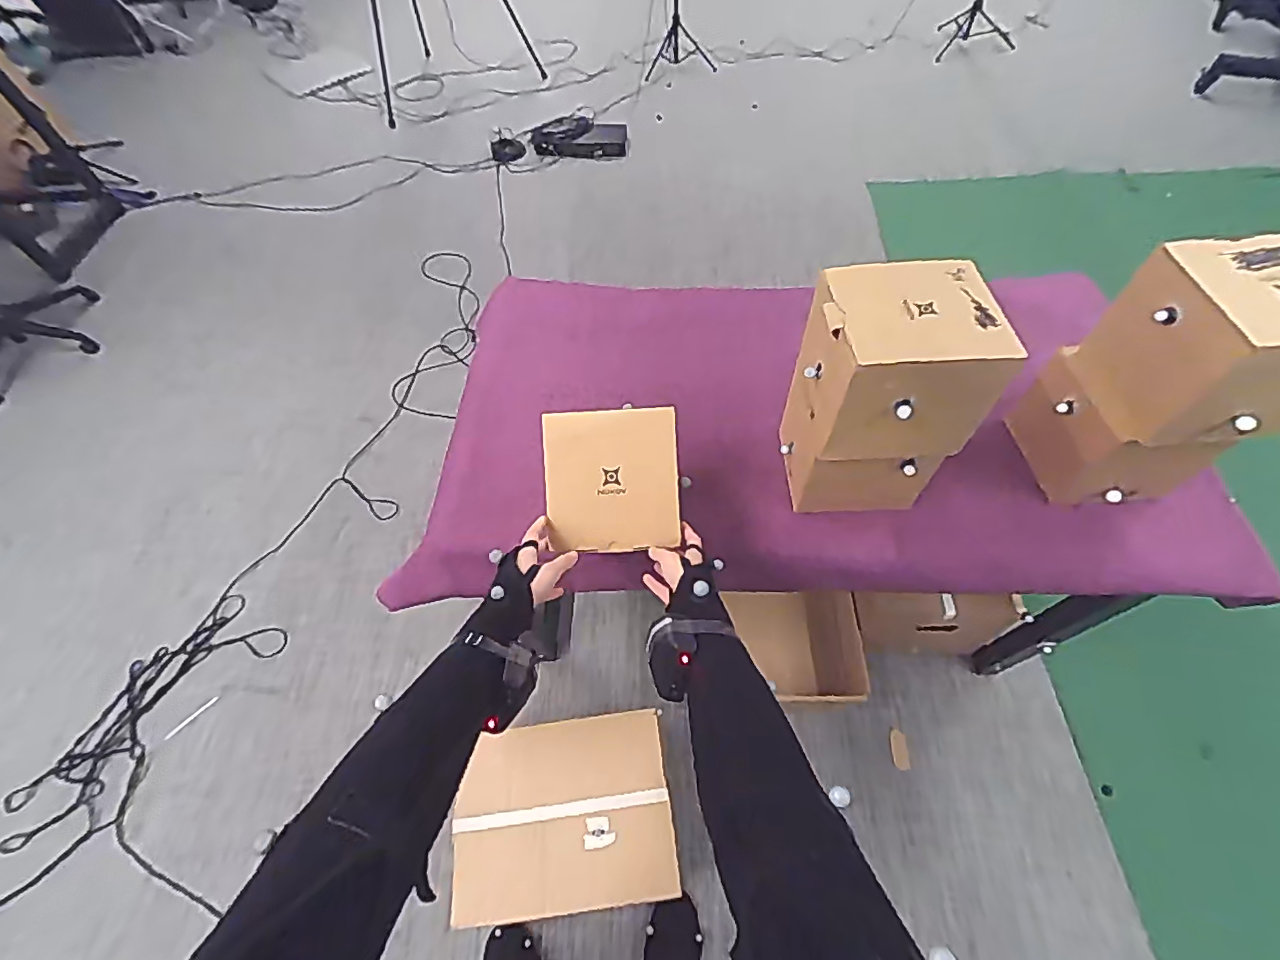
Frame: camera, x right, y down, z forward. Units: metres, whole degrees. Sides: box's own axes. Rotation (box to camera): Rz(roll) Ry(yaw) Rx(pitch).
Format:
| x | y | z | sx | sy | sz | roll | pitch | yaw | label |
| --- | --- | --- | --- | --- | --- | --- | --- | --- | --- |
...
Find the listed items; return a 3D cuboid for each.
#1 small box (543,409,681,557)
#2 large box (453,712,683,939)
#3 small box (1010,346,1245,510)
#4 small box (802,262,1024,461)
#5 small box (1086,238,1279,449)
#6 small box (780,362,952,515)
| x | y | z | sx | sy | sz | roll | pitch | yaw | label |
| --- | --- | --- | --- | --- | --- | --- | --- | --- | --- |
| -0.034 | 0.003 | 0.739 | 0.168 | 0.176 | 0.179 | -3 | 92 | 2 | small box |
| -0.134 | 0.705 | 1.121 | 0.408 | 0.320 | 0.320 | -7 | 56 | -2 | large box |
| 0.682 | -0.075 | 0.780 | 0.168 | 0.176 | 0.179 | -4 | 55 | 3 | small box |
| 0.302 | -0.135 | 0.651 | 0.179 | 0.176 | 0.168 | -3 | 55 | 3 | small box |
| 0.688 | -0.158 | 0.637 | 0.168 | 0.176 | 0.179 | -4 | 56 | 4 | small box |
| 0.316 | -0.059 | 0.796 | 0.179 | 0.176 | 0.168 | -2 | 55 | 3 | small box |
